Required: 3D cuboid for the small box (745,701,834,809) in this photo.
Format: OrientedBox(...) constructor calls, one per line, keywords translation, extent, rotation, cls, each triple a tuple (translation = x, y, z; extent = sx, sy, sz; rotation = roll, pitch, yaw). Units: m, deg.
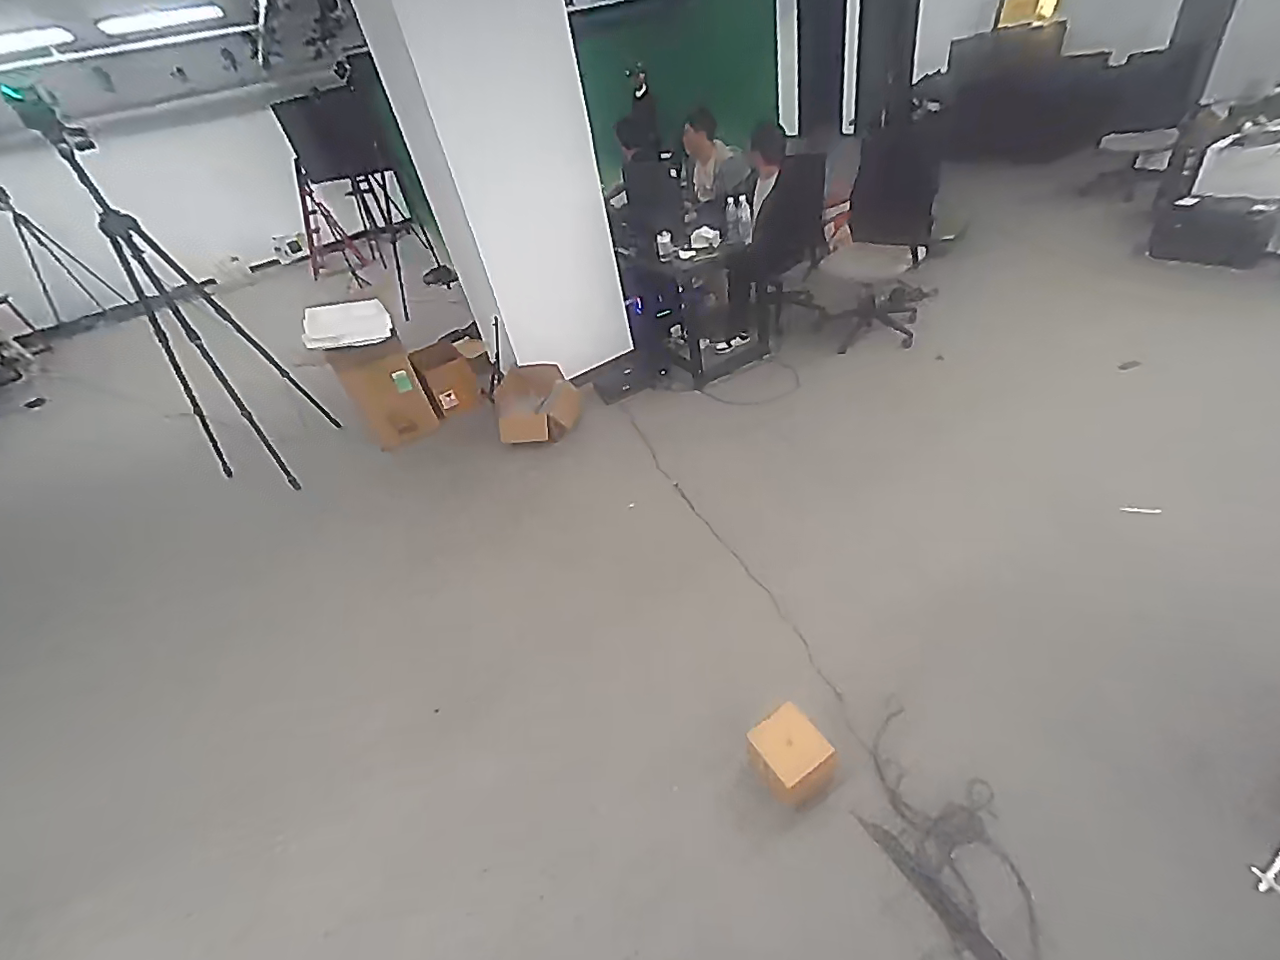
OrientedBox(translation=(0.413, 0.761, 1.497), extent=(0.168, 0.176, 0.179), rotation=(-28, 40, -17), cls="small box")
